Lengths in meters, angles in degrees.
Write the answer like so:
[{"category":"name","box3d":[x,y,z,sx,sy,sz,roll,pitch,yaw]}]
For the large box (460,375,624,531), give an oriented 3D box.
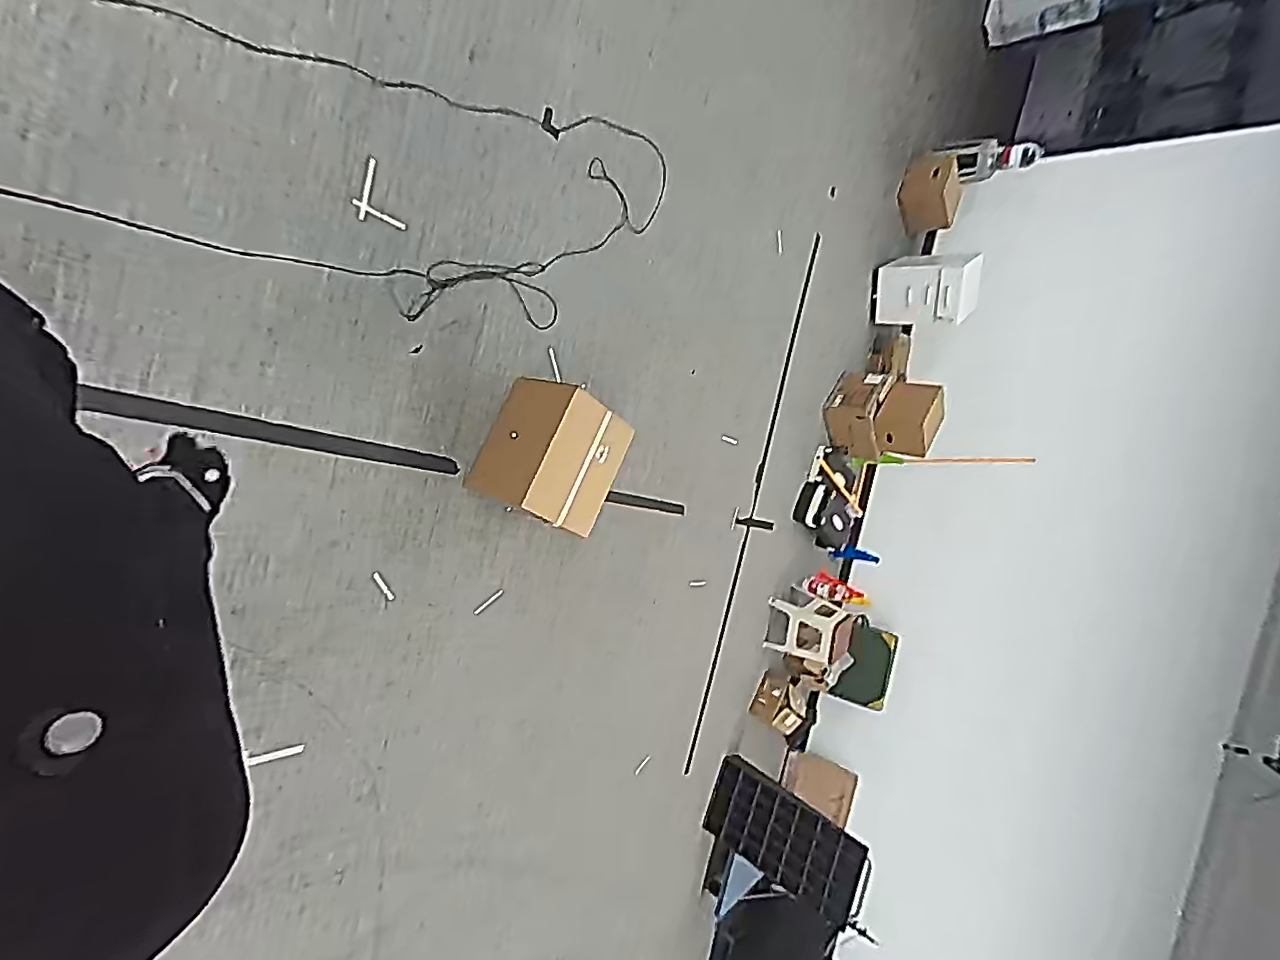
[{"category":"large box","box3d":[-0.320,-0.090,1.782,0.320,0.320,0.408,35,74,-50]}]
